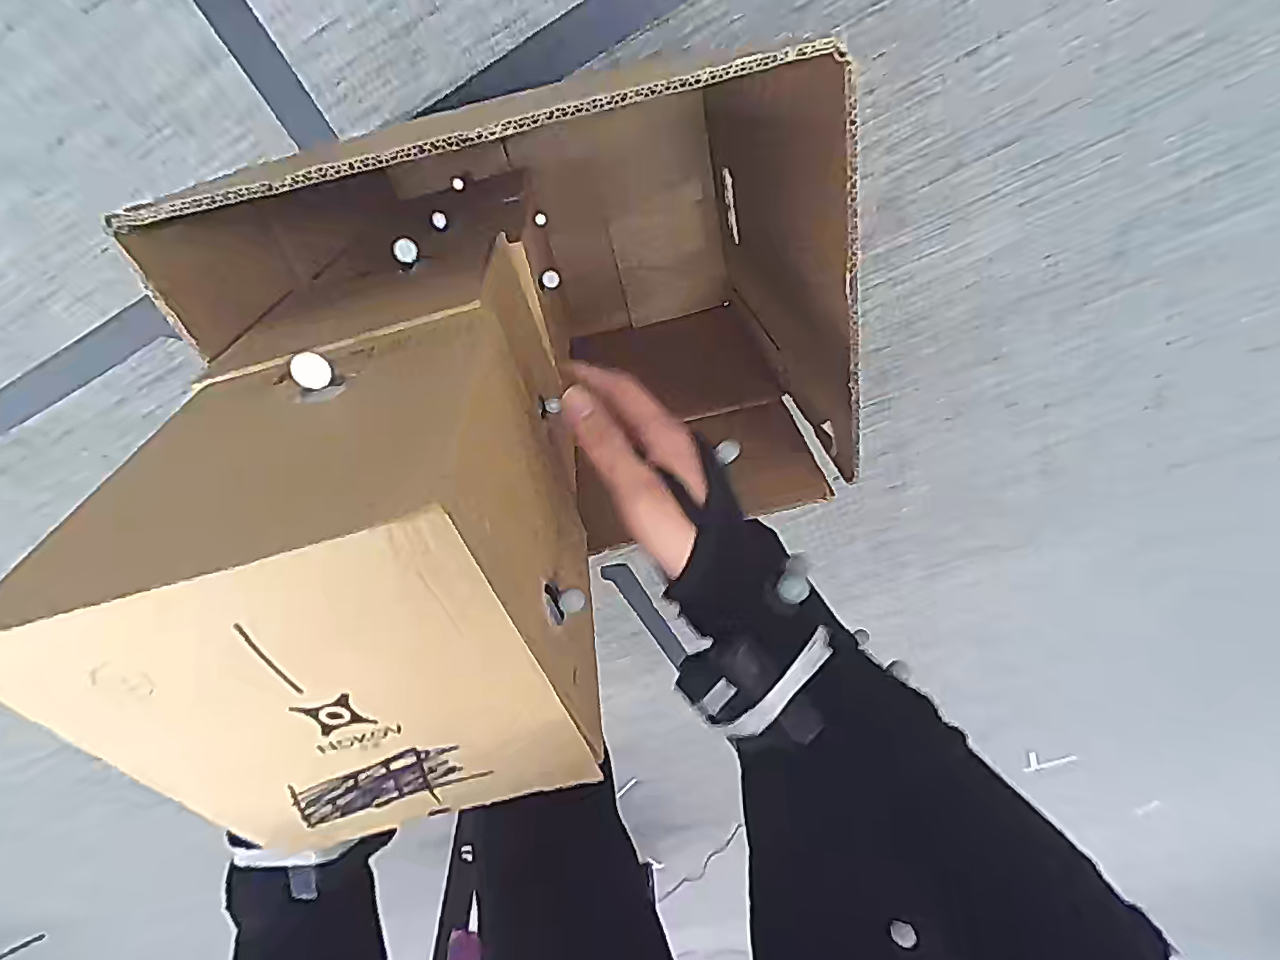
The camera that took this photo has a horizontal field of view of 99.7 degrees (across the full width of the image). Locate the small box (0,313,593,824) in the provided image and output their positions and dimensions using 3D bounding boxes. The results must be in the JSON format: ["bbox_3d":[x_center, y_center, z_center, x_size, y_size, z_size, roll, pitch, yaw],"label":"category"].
[{"bbox_3d":[-0.127,0.041,0.281,0.168,0.176,0.179,-15,128,2],"label":"small box"}]
